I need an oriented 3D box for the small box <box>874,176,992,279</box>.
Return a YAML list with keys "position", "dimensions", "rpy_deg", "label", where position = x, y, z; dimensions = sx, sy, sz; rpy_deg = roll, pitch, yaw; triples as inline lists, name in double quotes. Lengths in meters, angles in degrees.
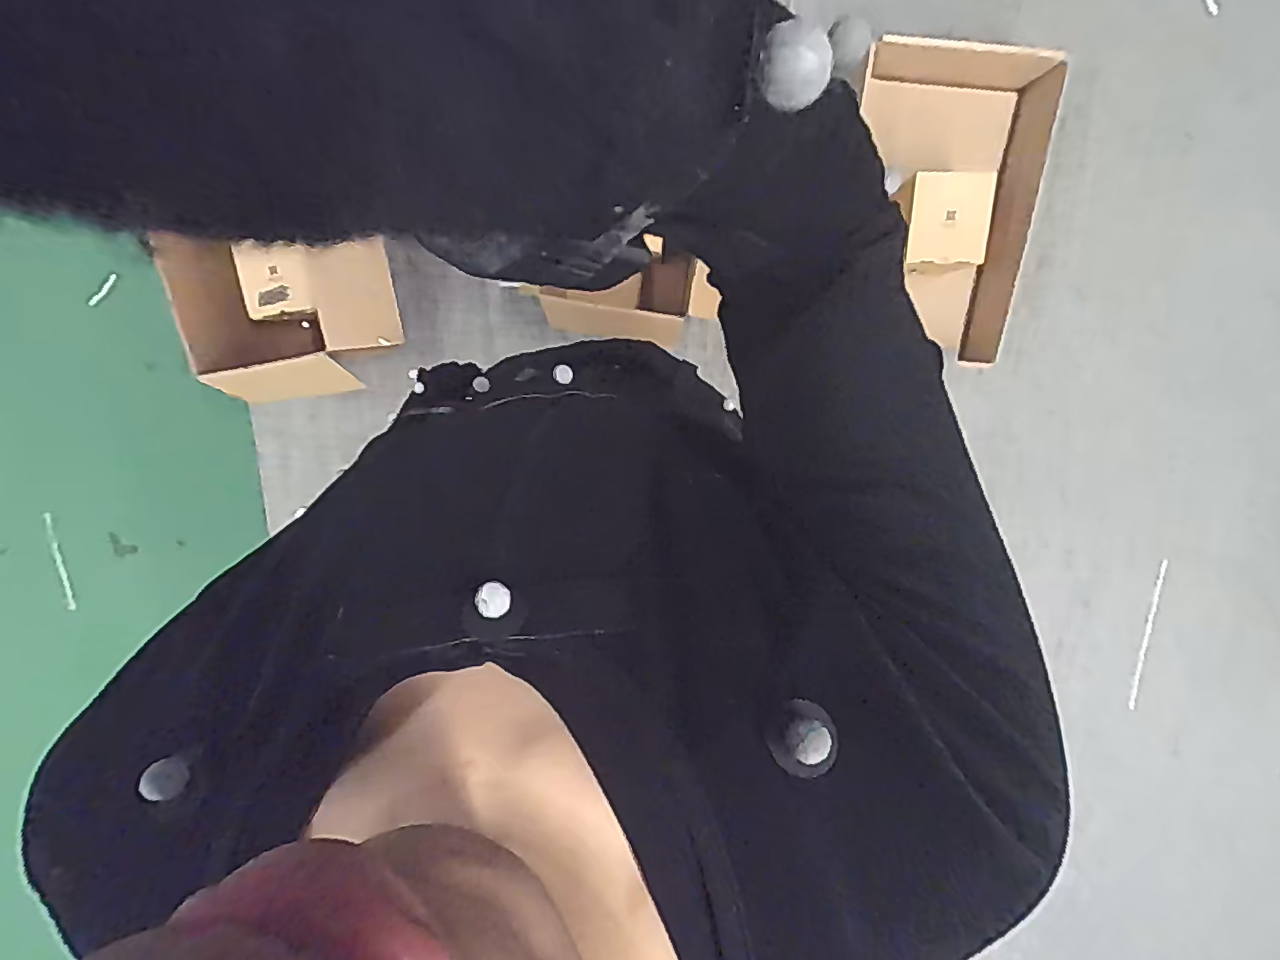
- position: [0.636, -0.550, 1.196]
  dimensions: [0.168, 0.176, 0.179]
  rpy_deg: [1, 103, 1]
  label: "small box"
